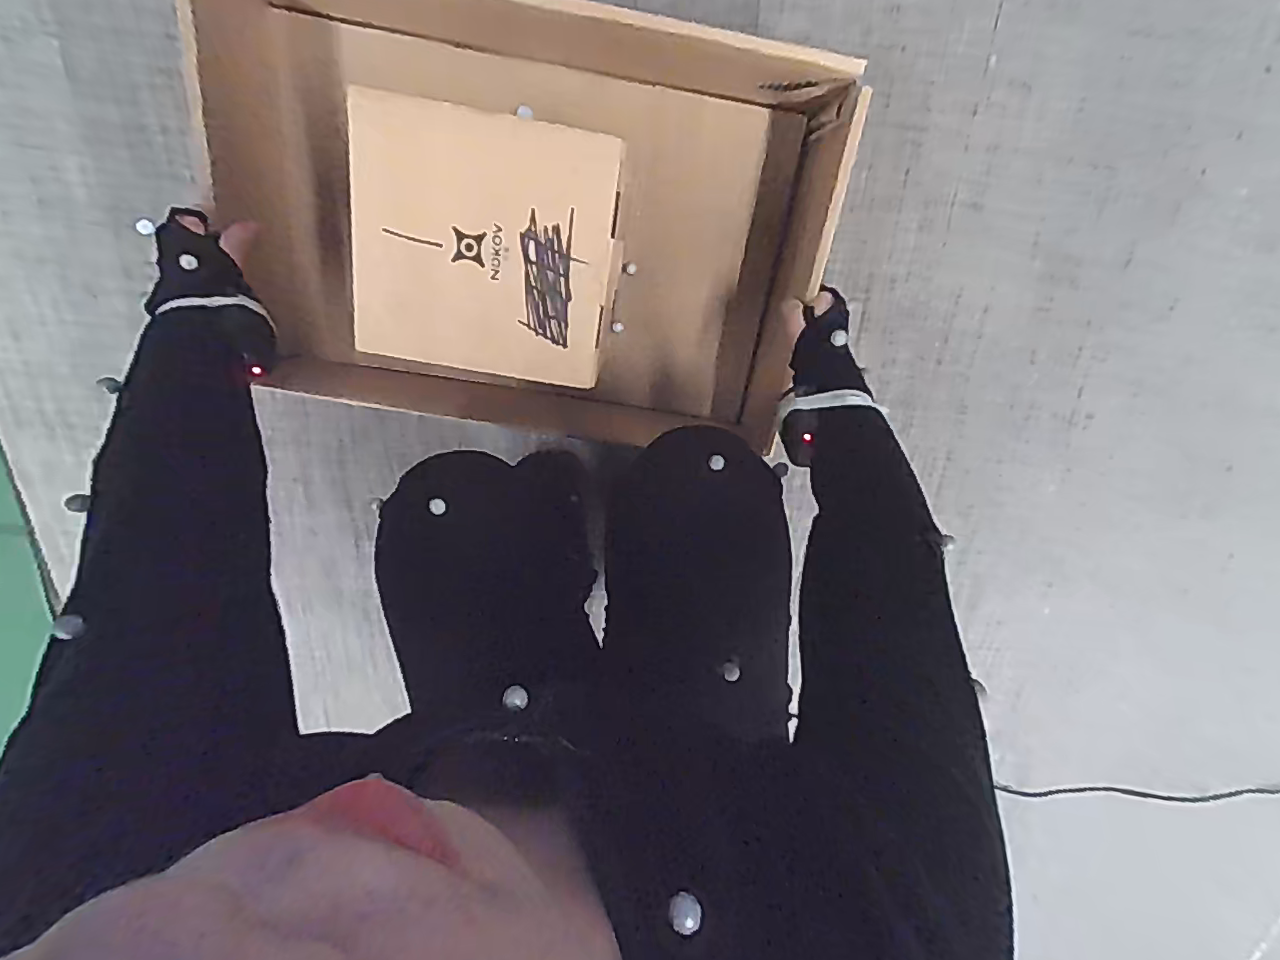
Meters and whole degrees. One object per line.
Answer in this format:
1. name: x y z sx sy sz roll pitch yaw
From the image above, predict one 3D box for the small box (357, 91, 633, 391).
1. small box: -0.103 -0.185 0.443 0.179 0.176 0.168 10 112 -3
